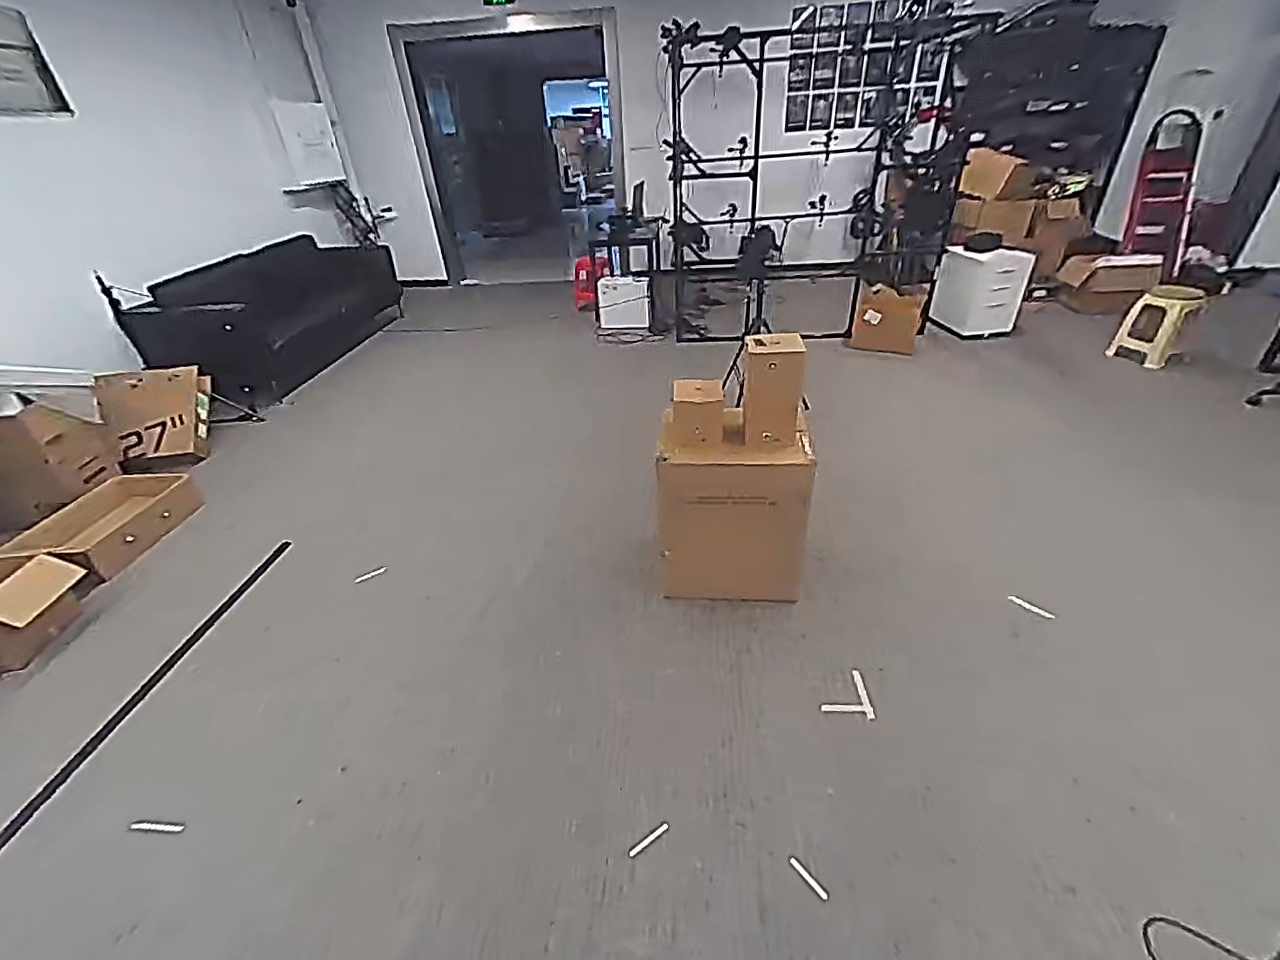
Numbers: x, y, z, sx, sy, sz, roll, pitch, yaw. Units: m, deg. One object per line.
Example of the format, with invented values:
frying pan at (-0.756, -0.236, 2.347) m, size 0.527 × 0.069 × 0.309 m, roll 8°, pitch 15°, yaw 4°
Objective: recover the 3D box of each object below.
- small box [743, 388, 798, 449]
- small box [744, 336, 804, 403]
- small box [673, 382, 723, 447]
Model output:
small box at (0.442, -0.221, 1.849) m, size 0.168 × 0.176 × 0.179 m, roll -2°, pitch 34°, yaw 8°
small box at (0.431, -0.358, 1.757) m, size 0.179 × 0.176 × 0.168 m, roll -1°, pitch 34°, yaw 7°
small box at (0.201, -0.230, 1.886) m, size 0.168 × 0.176 × 0.179 m, roll 0°, pitch 34°, yaw 5°
